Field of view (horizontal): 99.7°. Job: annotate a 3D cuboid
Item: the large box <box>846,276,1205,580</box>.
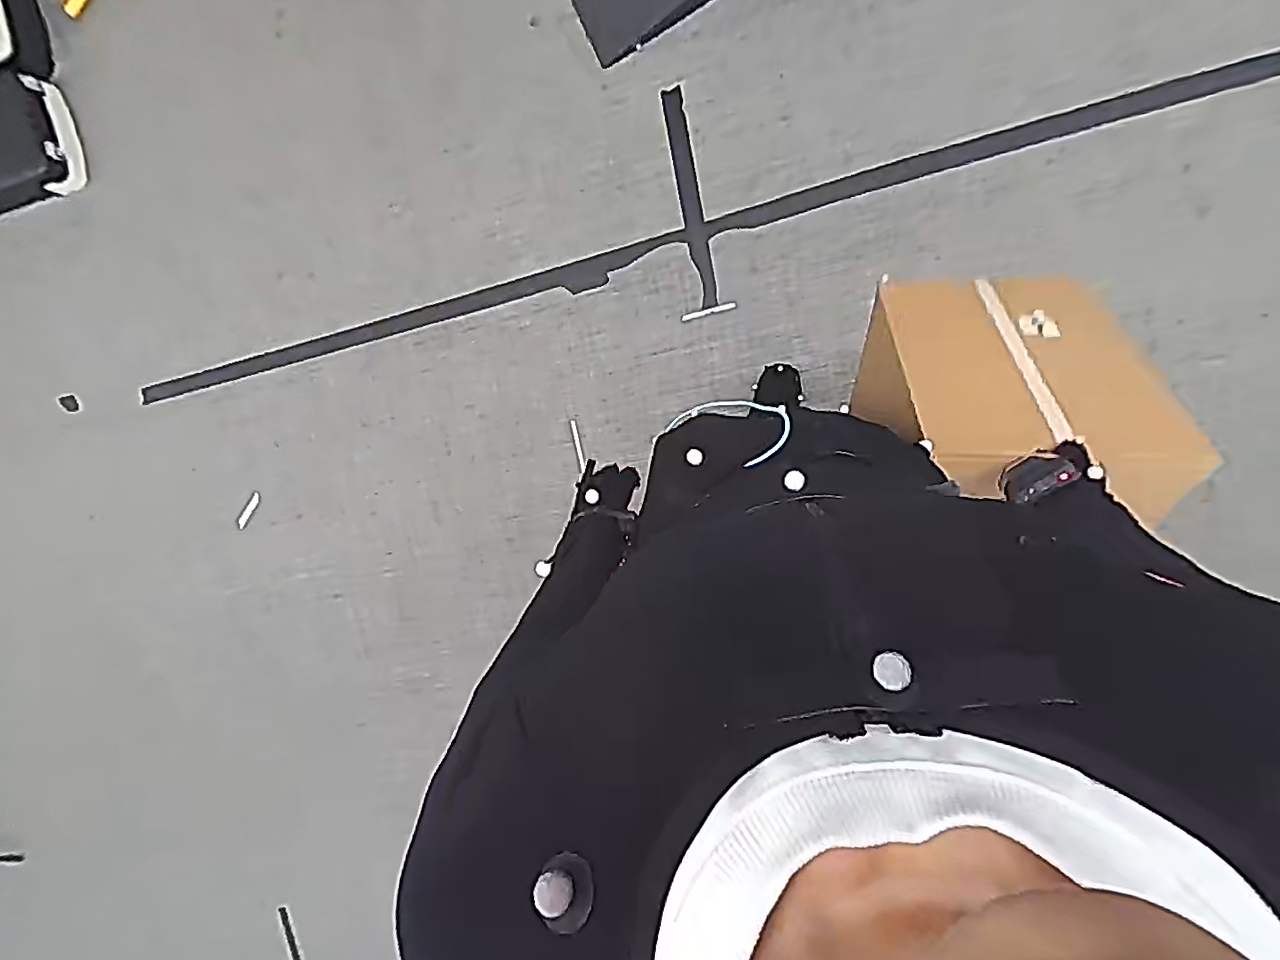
[{"bbox_3d":[0.547,-0.085,0.889,0.320,0.408,0.320,2,140,8],"label":"large box"}]
